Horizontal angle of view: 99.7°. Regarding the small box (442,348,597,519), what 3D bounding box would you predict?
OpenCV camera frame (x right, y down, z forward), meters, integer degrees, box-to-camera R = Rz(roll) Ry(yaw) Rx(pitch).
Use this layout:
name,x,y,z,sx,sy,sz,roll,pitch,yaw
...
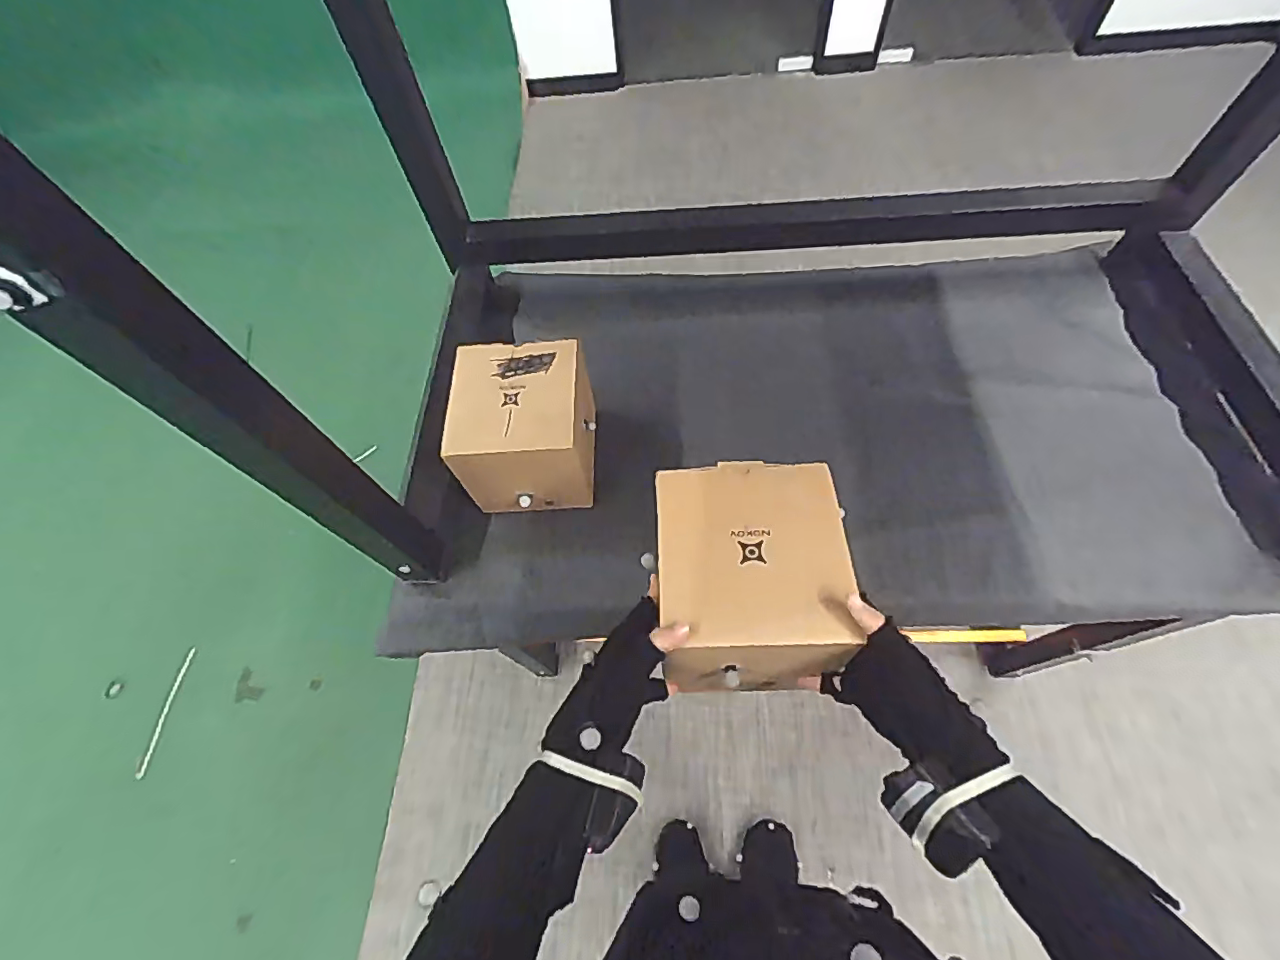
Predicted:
name,x,y,z,sx,sy,sz,roll,pitch,yaw
small box,-0.155,-0.060,0.762,0.168,0.176,0.179,-3,61,3

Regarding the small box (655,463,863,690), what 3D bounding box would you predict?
name,x,y,z,sx,sy,sz,roll,pitch,yaw
small box,0.102,0.105,0.539,0.168,0.176,0.179,-3,55,4
